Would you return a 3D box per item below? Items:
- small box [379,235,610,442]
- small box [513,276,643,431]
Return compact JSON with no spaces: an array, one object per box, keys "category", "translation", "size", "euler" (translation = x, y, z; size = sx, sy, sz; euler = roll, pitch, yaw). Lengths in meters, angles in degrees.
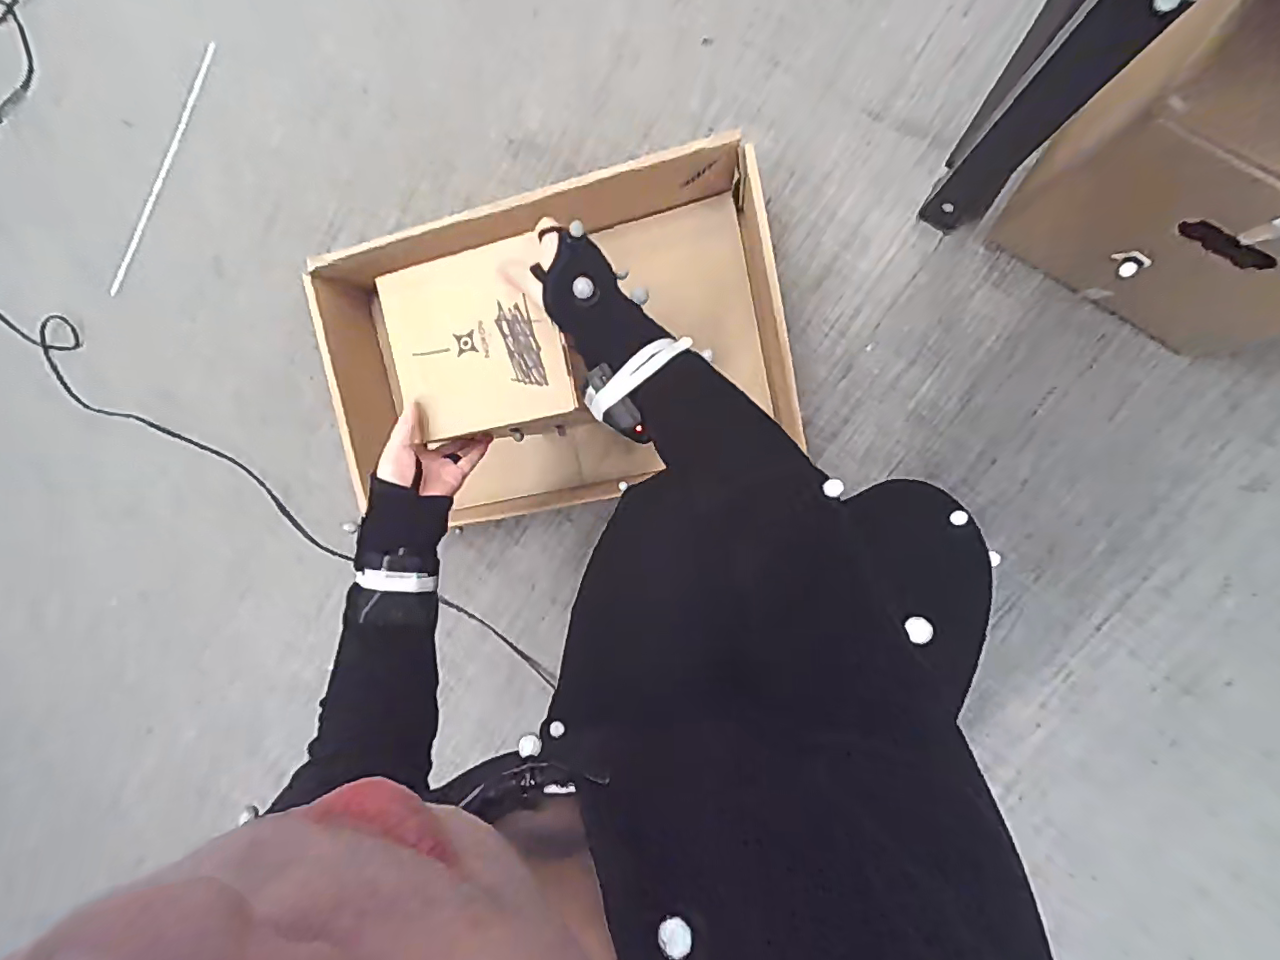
[{"category":"small box","translation":[-0.139,-0.141,0.588],"size":[0.179,0.176,0.168],"euler":[-9,95,13]},{"category":"small box","translation":[-0.108,-0.162,0.748],"size":[0.179,0.176,0.168],"euler":[-10,96,12]}]
